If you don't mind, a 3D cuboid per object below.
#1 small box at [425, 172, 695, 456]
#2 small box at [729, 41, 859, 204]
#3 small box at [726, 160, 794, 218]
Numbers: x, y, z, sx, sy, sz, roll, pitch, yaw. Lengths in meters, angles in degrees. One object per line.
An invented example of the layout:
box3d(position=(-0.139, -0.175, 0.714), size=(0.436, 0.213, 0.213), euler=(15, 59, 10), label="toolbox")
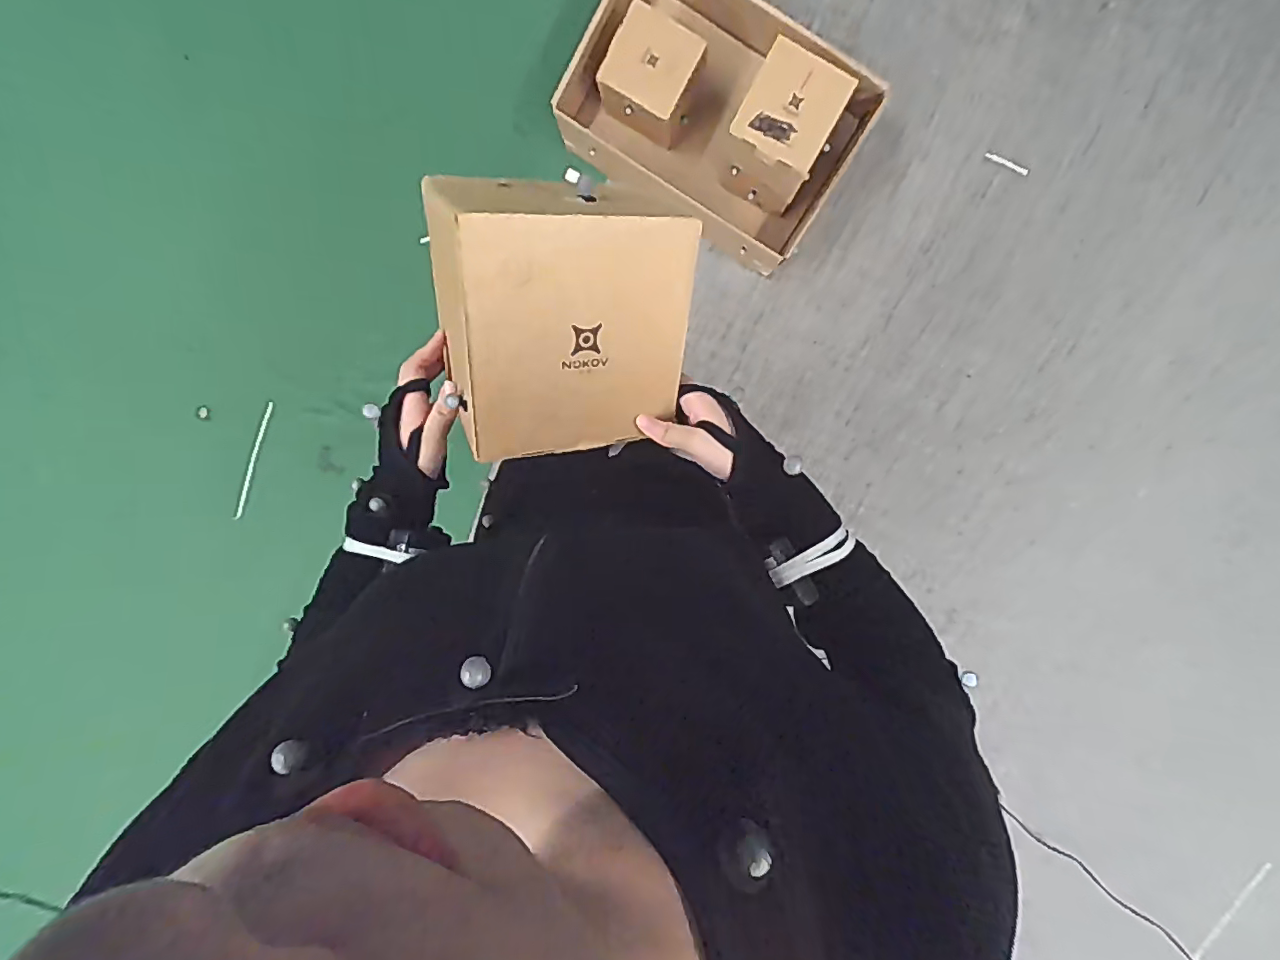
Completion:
box3d(position=(-0.076, -0.145, 0.450), size=(0.168, 0.176, 0.179), euler=(-10, 129, -23), label="small box")
box3d(position=(0.283, -0.670, 1.041), size=(0.168, 0.176, 0.179), euler=(30, 101, -1), label="small box")
box3d(position=(0.302, -0.714, 1.198), size=(0.168, 0.176, 0.179), euler=(28, 102, -1), label="small box")
